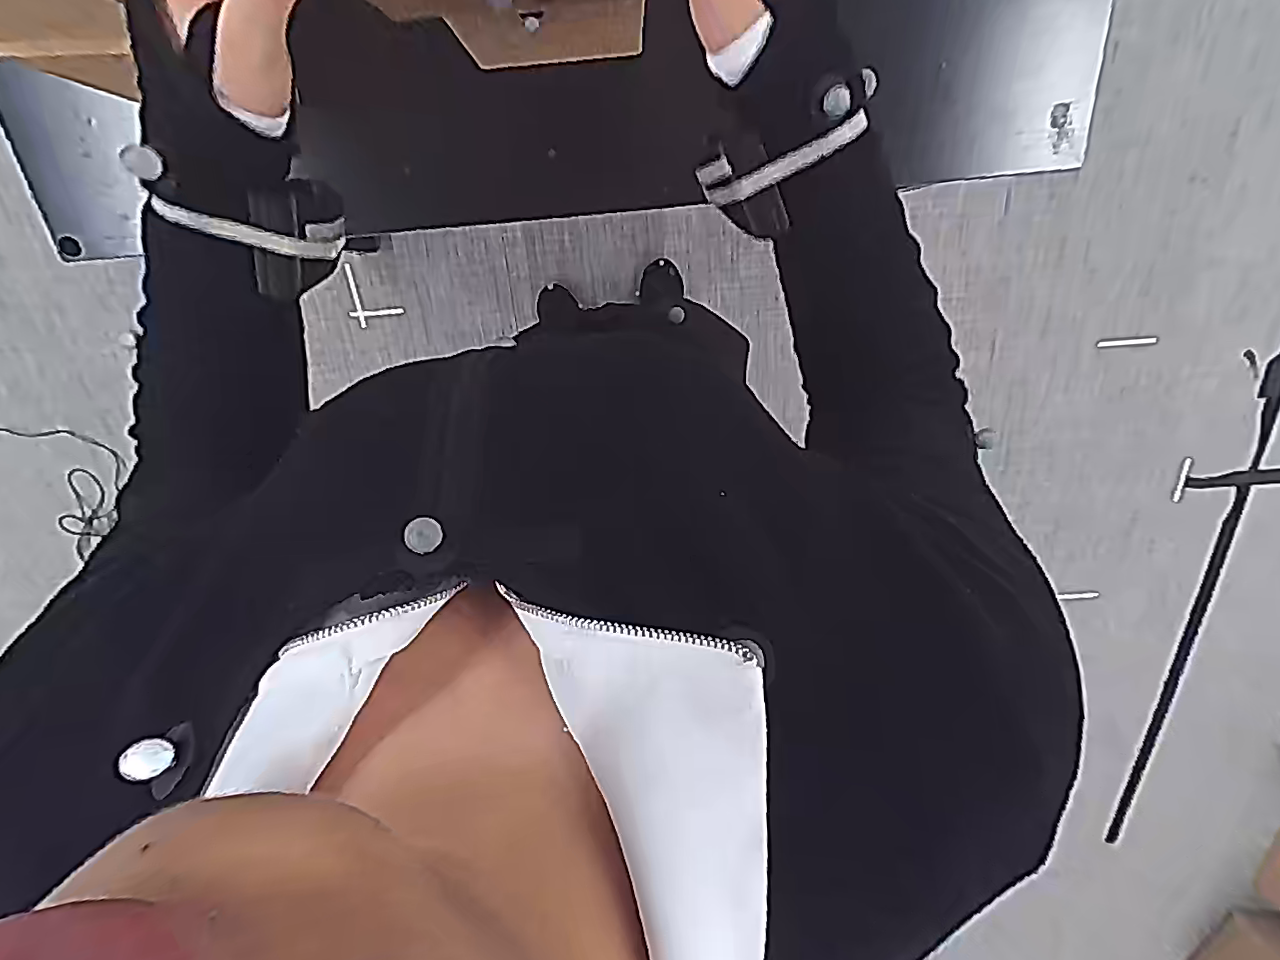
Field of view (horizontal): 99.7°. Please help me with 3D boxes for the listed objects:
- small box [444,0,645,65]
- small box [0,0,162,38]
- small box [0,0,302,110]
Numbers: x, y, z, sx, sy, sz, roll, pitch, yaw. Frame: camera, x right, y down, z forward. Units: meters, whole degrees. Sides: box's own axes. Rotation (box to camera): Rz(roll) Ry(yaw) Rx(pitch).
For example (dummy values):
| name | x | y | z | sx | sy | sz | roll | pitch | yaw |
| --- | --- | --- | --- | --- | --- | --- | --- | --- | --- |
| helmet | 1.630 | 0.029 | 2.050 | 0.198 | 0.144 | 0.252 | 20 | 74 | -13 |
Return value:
| name | x | y | z | sx | sy | sz | roll | pitch | yaw |
| --- | --- | --- | --- | --- | --- | --- | --- | --- | --- |
| small box | -0.087 | -0.494 | 0.476 | 0.179 | 0.176 | 0.168 | -5 | 112 | 0 |
| small box | -0.451 | -0.402 | 0.331 | 0.179 | 0.176 | 0.168 | -2 | 111 | 0 |
| small box | -0.448 | -0.459 | 0.487 | 0.168 | 0.176 | 0.179 | -2 | 113 | 0 |
